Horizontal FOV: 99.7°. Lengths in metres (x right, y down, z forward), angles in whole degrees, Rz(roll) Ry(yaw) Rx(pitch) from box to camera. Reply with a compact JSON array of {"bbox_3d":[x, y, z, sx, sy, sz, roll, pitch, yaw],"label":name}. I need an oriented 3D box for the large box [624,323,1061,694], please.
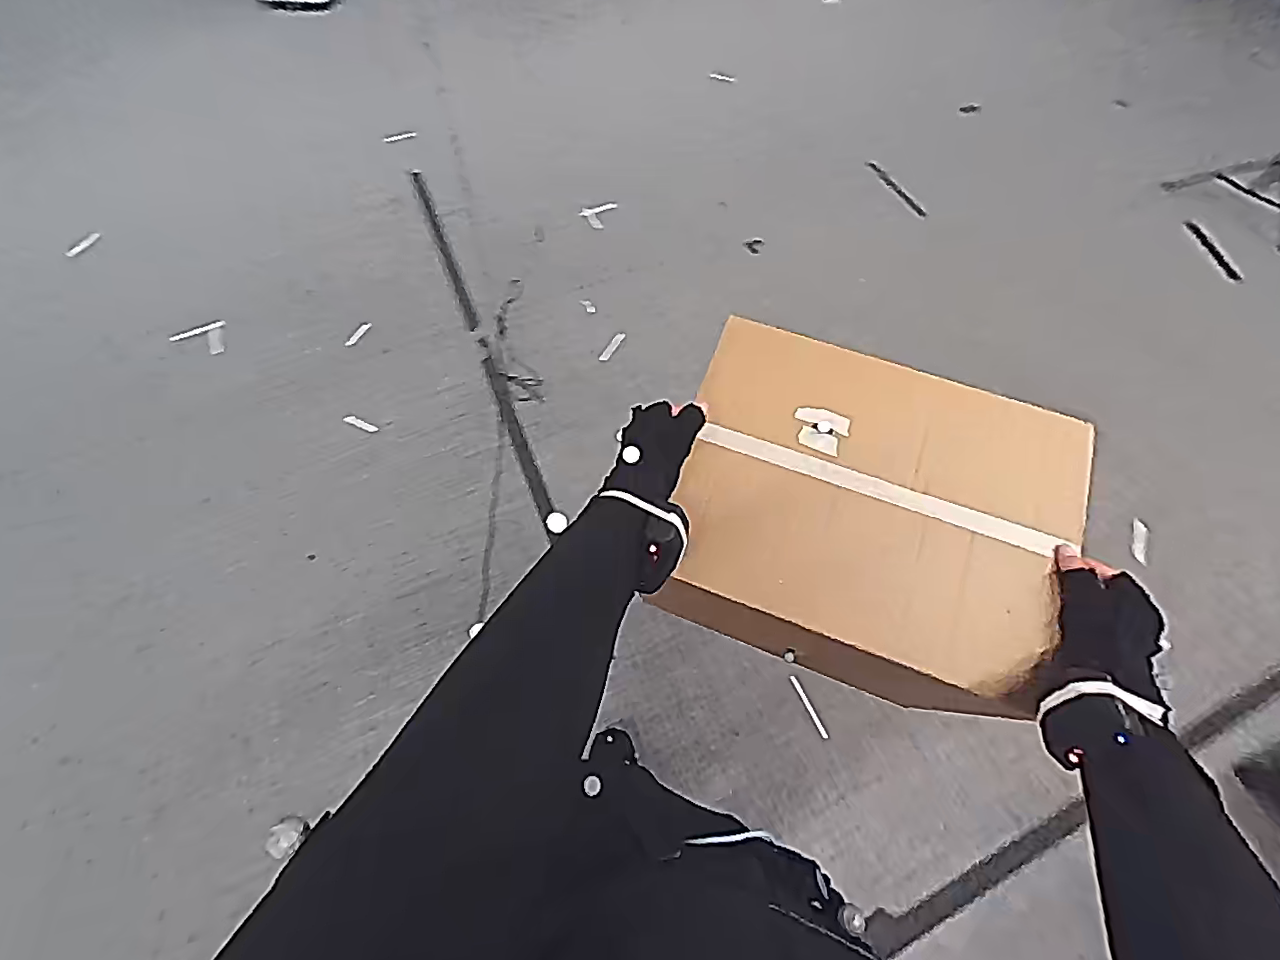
[{"bbox_3d":[0.228,0.055,0.708,0.408,0.320,0.320,18,71,10],"label":"large box"}]
